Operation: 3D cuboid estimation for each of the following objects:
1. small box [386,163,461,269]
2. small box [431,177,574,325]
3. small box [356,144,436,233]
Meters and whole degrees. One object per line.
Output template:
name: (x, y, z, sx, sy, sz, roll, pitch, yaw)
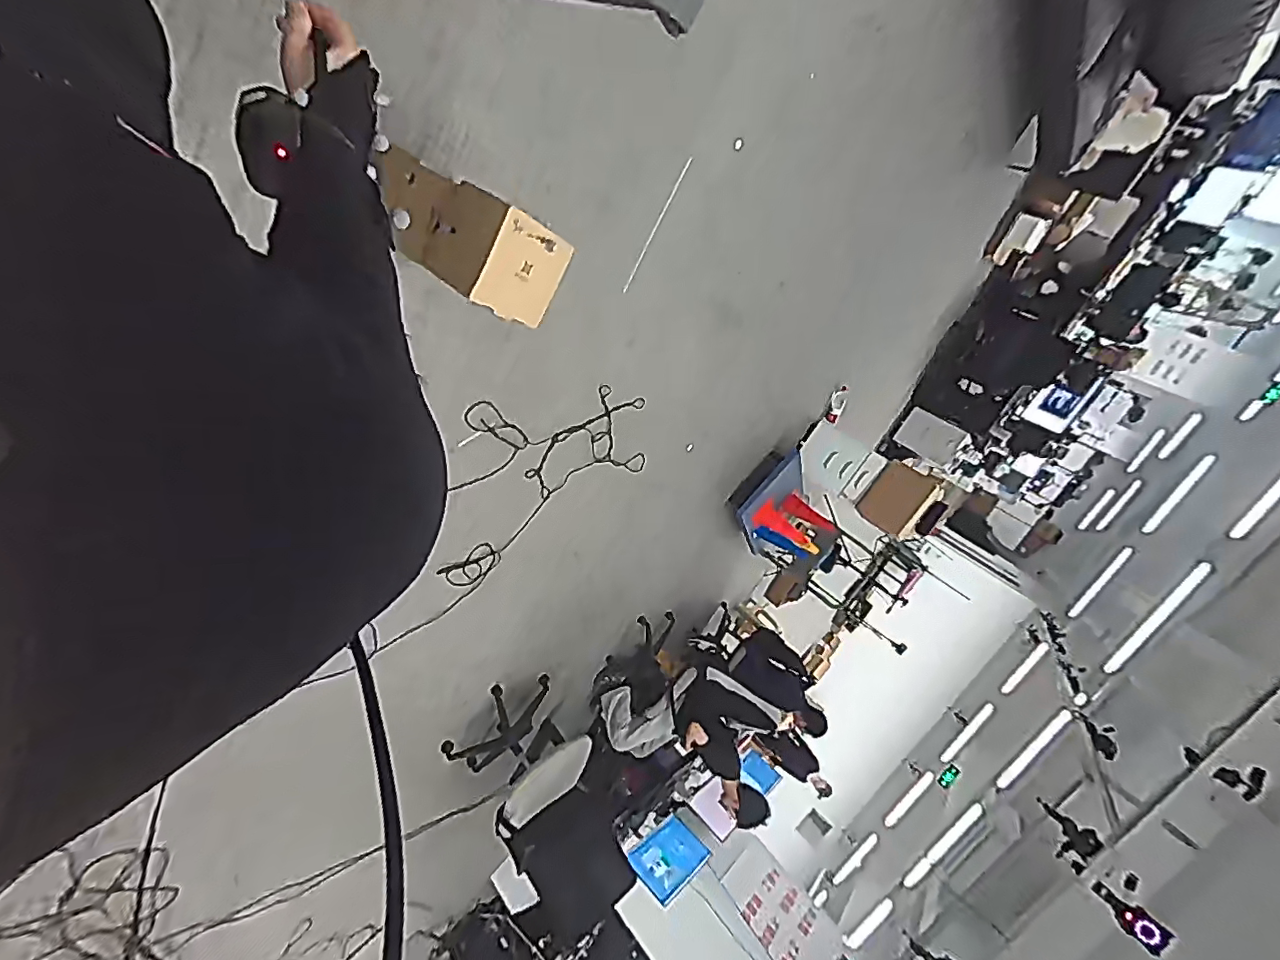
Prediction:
small box: (-0.381, -0.513, 1.100, 0.179, 0.176, 0.168, 6, 118, -56)
small box: (-0.265, -0.429, 1.020, 0.168, 0.176, 0.179, 9, 116, -57)
small box: (-0.484, -0.604, 1.192, 0.179, 0.176, 0.168, 10, 114, -57)
